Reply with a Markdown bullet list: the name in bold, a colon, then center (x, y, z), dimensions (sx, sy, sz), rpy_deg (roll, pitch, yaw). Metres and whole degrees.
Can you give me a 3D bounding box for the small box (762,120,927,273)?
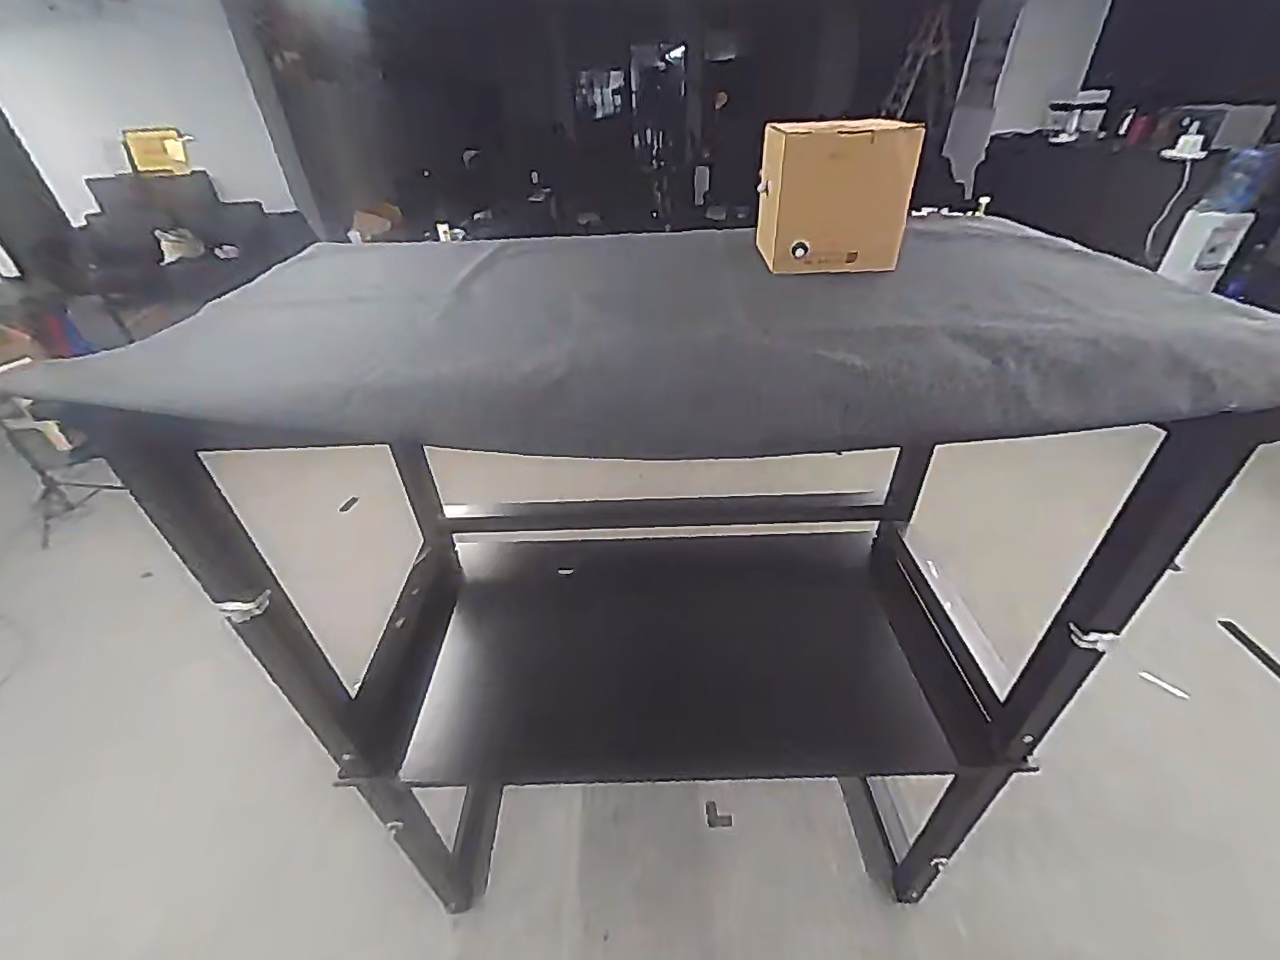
- **small box**: center (0.269, -0.395, 0.757), dimensions (0.168, 0.176, 0.179), rpy_deg (0, 36, 4)
